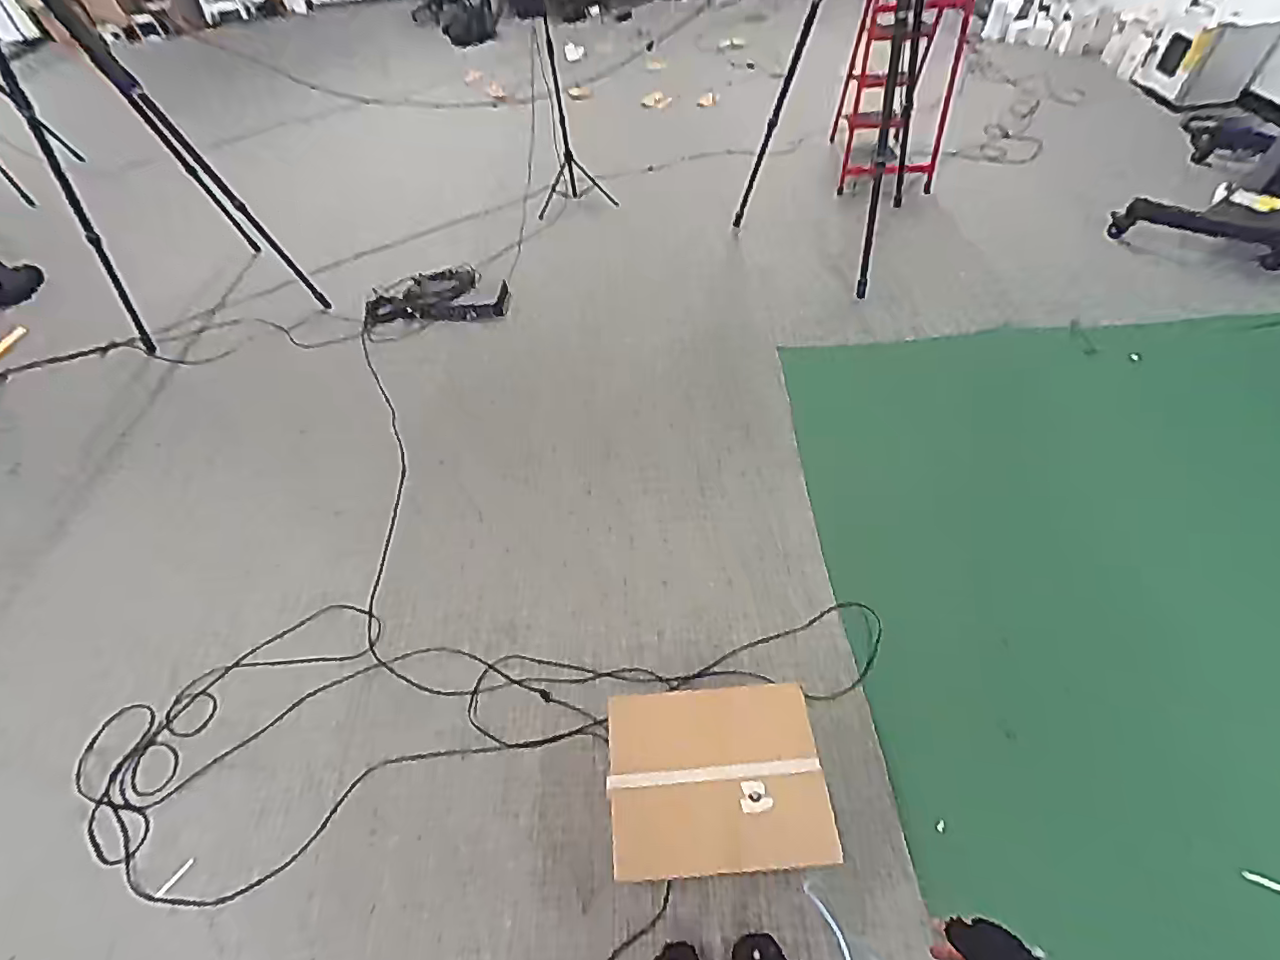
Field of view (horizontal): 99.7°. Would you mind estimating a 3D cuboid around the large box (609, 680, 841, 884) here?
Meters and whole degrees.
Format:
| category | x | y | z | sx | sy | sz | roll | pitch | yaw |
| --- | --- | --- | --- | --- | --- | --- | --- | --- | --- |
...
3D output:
| category | x | y | z | sx | sy | sz | roll | pitch | yaw |
| --- | --- | --- | --- | --- | --- | --- | --- | --- | --- |
| large box | 0.150 | 0.648 | 1.152 | 0.408 | 0.320 | 0.320 | -5 | 53 | -1 |
